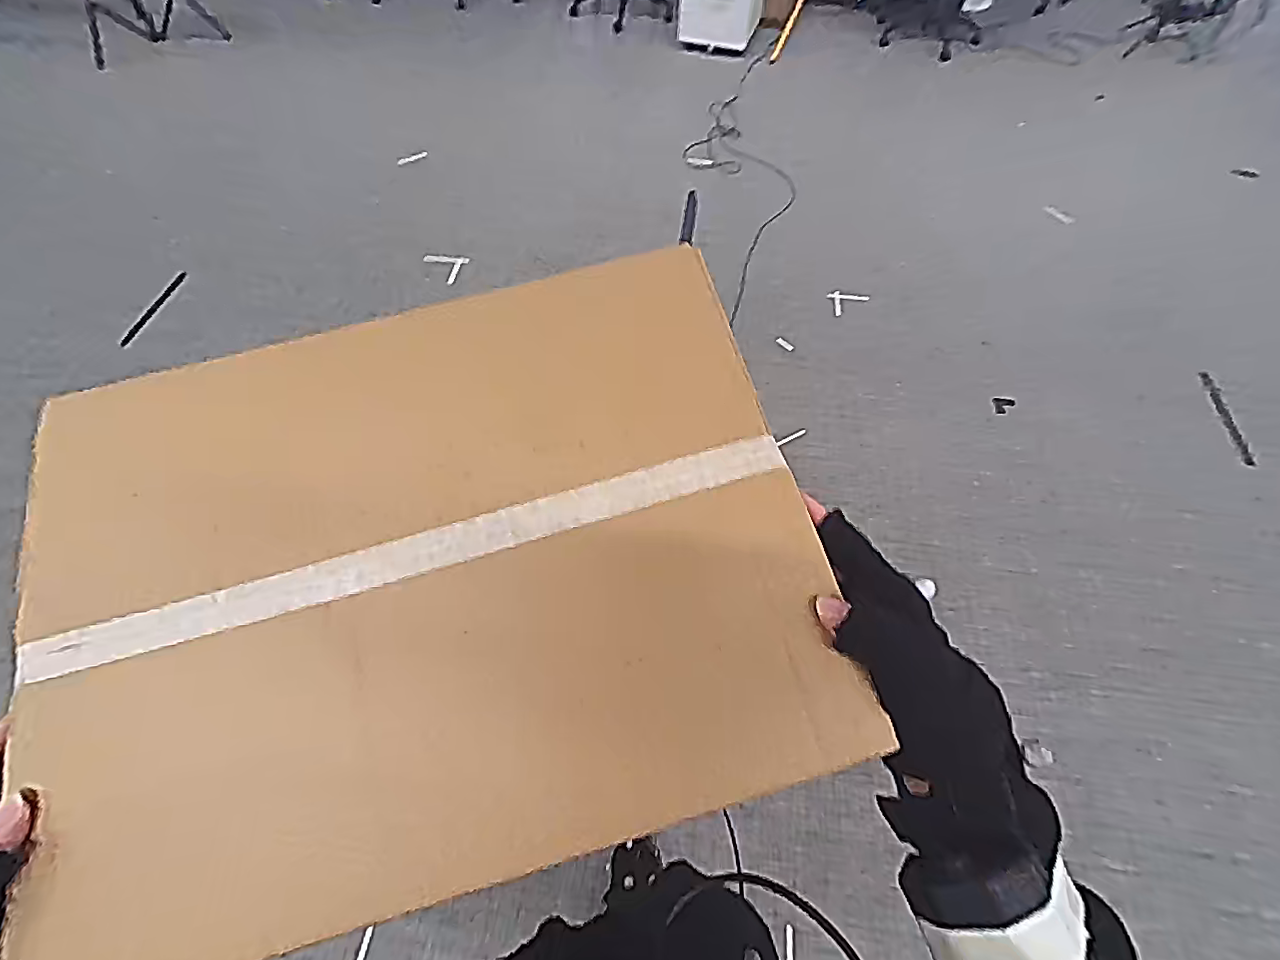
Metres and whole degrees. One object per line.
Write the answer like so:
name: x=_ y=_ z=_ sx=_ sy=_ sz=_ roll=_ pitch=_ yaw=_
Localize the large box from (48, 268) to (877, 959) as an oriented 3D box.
large box: x=-0.106 y=0.096 z=0.439 sx=0.408 sy=0.320 sz=0.320 roll=-15 pitch=70 yaw=-4
